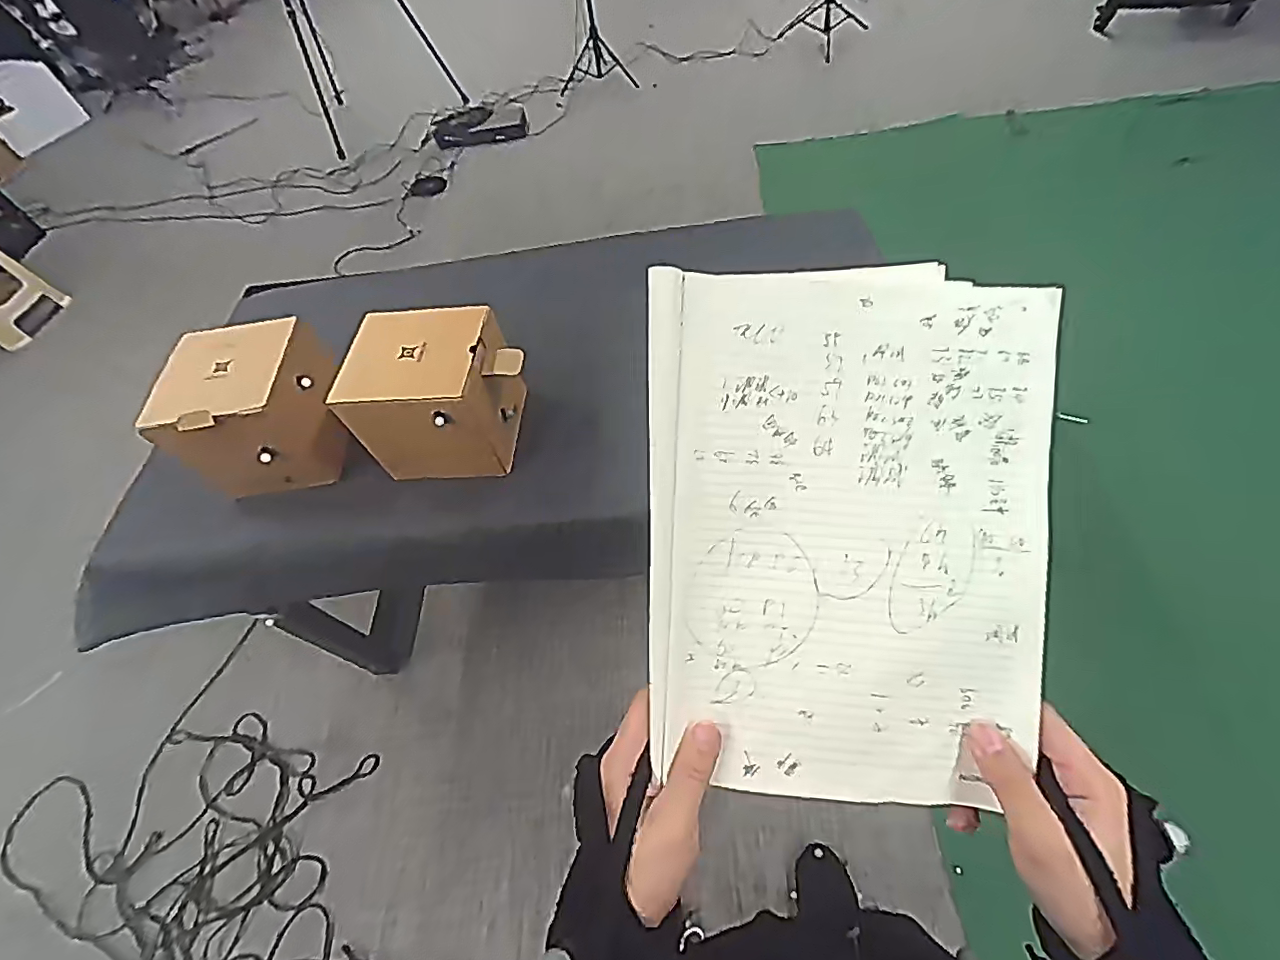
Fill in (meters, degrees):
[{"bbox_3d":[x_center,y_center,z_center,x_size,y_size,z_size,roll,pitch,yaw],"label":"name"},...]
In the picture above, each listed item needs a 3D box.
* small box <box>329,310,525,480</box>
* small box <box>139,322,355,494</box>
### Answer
[{"bbox_3d":[-0.276,-0.111,0.748,0.179,0.176,0.168,-2,55,6],"label":"small box"},{"bbox_3d":[-0.534,-0.093,0.772,0.168,0.176,0.179,-9,54,1],"label":"small box"}]
